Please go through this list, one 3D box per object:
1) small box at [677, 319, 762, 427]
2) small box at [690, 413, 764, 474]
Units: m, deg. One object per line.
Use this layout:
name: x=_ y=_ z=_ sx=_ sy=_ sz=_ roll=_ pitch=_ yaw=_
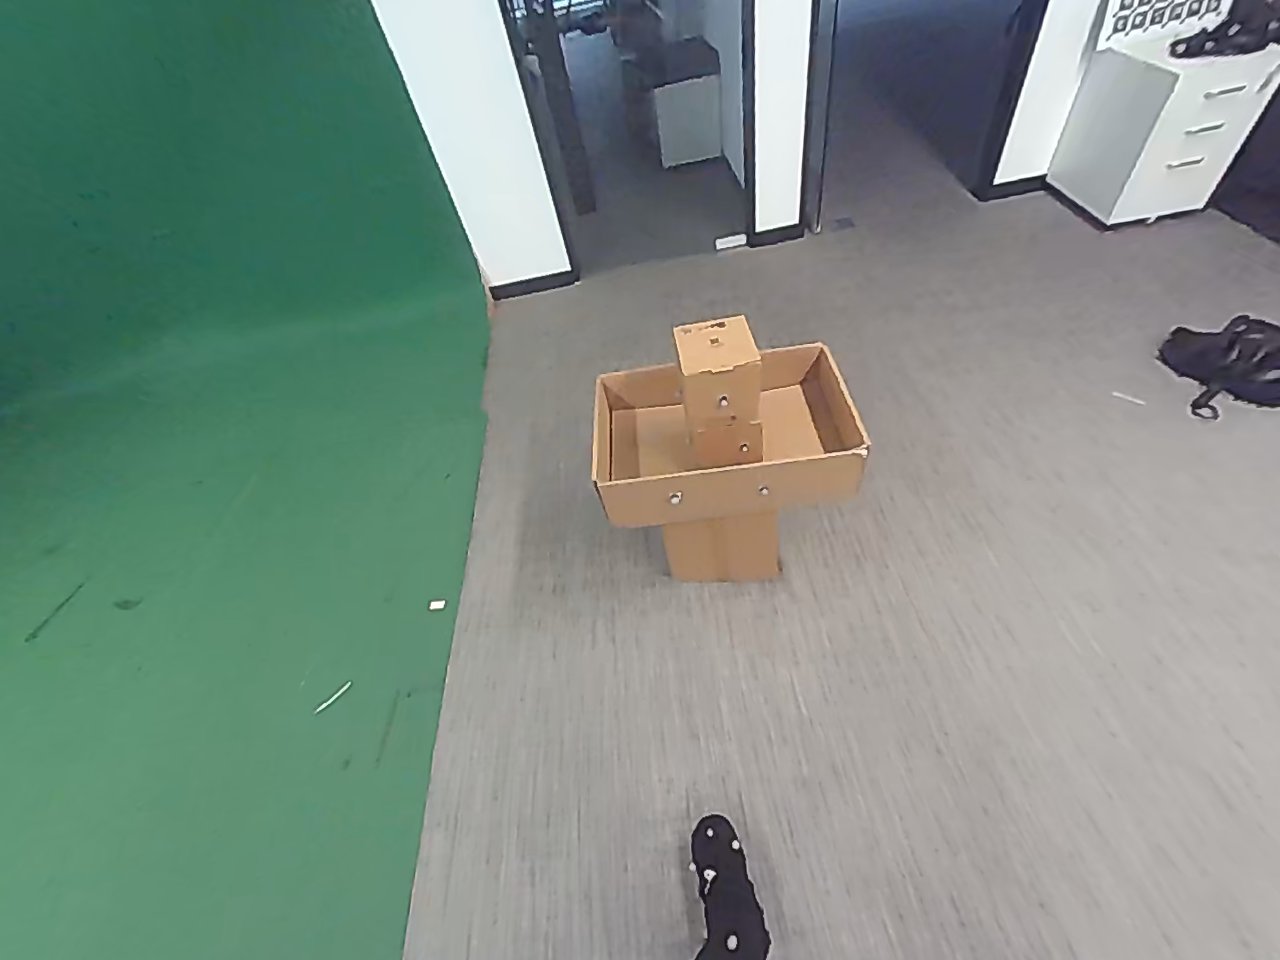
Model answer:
small box: x=0.181 y=-0.236 z=1.232 sx=0.168 sy=0.176 sz=0.179 roll=-8 pitch=49 yaw=3
small box: x=0.212 y=-0.128 z=1.352 sx=0.168 sy=0.176 sz=0.179 roll=-8 pitch=47 yaw=3
